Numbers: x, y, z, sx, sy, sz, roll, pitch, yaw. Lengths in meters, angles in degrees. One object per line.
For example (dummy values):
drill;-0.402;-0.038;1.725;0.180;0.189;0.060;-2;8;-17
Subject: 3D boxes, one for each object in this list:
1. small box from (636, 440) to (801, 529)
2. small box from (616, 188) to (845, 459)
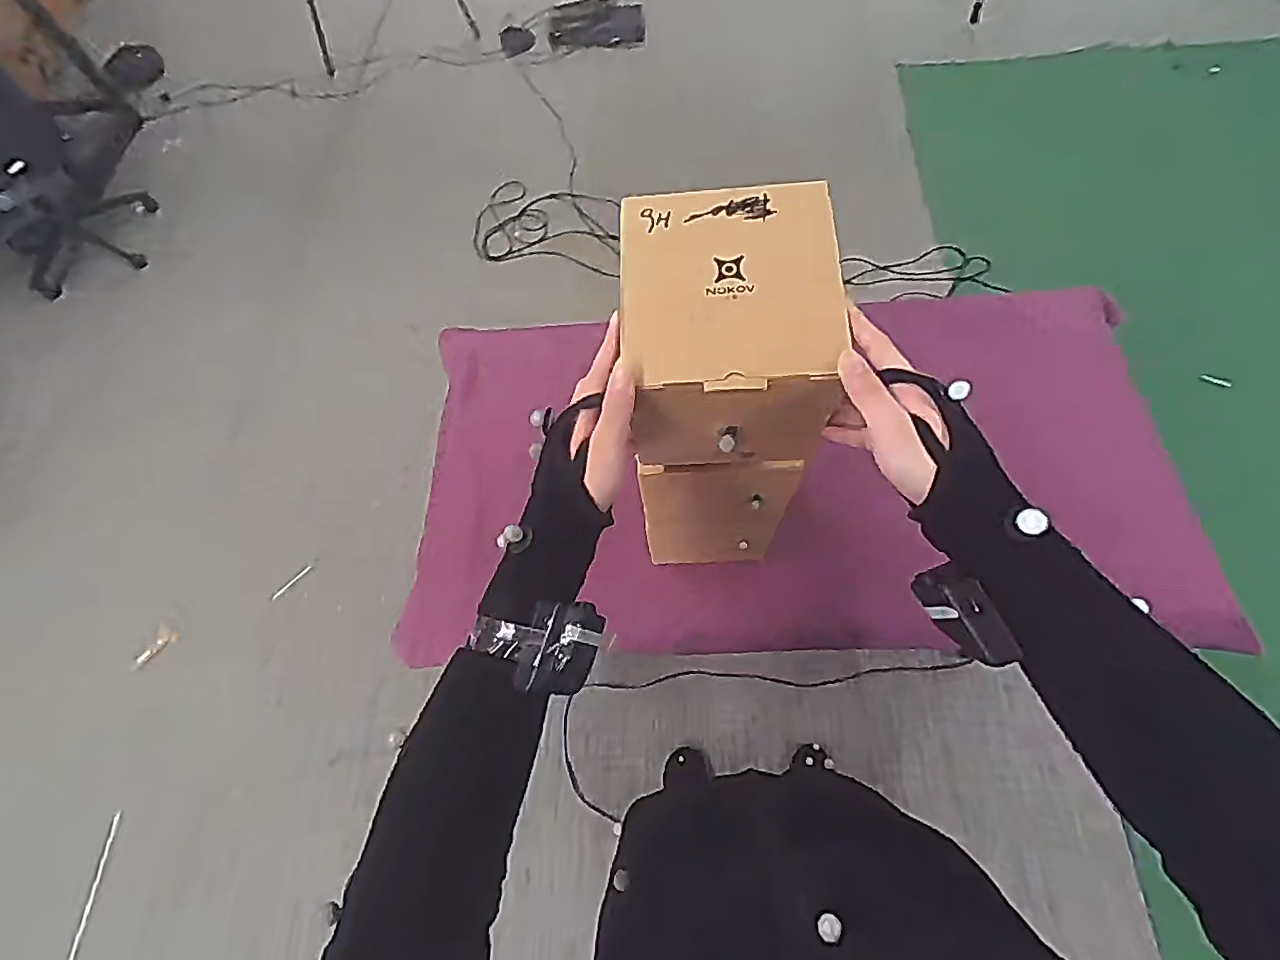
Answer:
small box;0.088;-0.044;0.672;0.179;0.176;0.168;-3;64;4
small box;0.073;-0.122;0.485;0.168;0.176;0.179;-2;72;6
